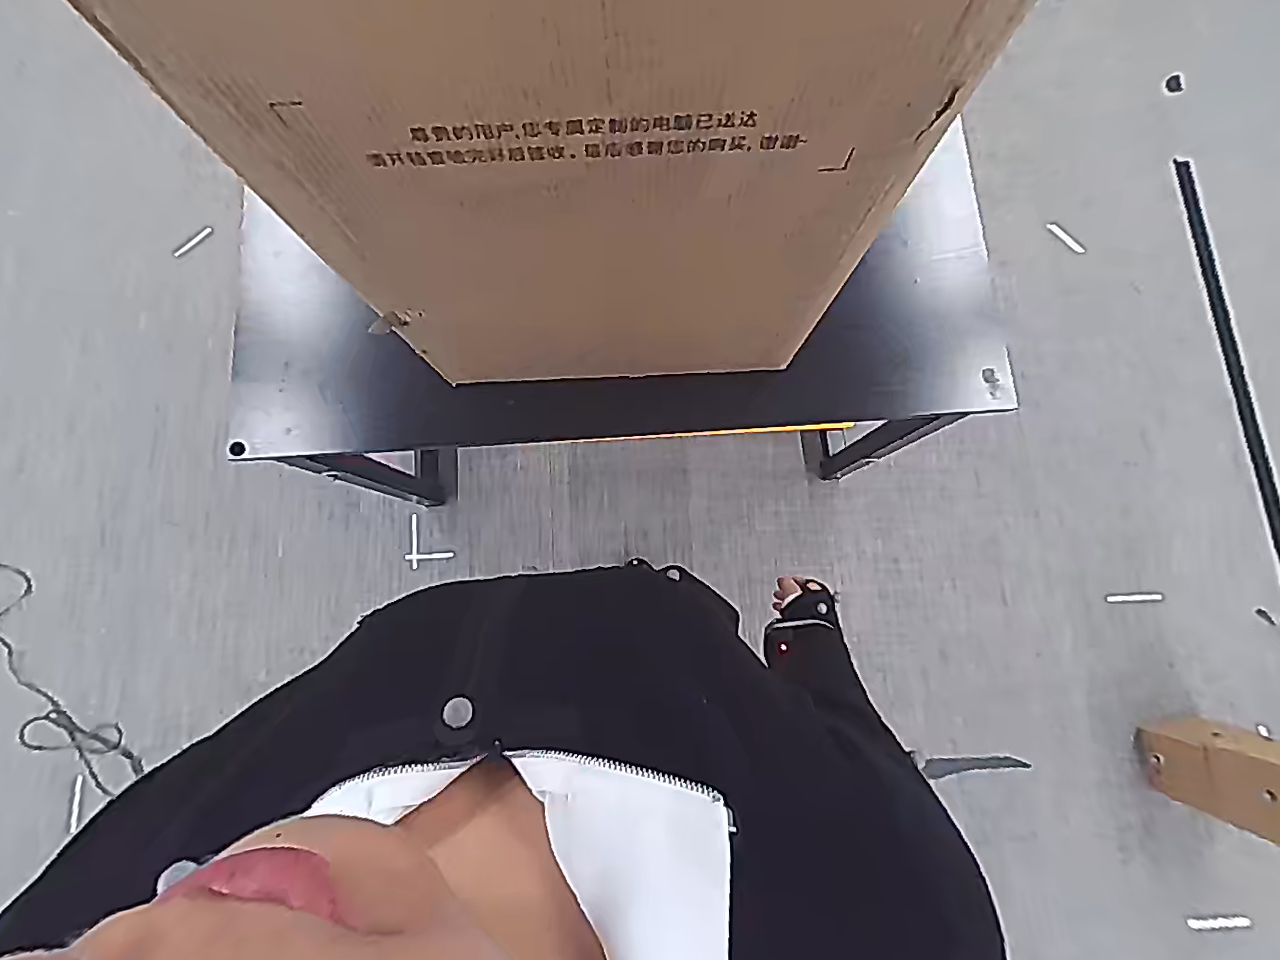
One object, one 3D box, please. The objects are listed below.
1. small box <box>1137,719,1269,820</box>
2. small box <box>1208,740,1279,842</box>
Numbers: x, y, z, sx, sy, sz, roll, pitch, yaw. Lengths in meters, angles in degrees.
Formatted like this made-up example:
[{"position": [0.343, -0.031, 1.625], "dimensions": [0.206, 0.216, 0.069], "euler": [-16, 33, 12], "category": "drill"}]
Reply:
[{"position": [1.407, 0.707, 1.338], "dimensions": [0.179, 0.176, 0.168], "euler": [-9, 80, 0], "category": "small box"}, {"position": [1.407, 0.679, 1.176], "dimensions": [0.168, 0.176, 0.179], "euler": [-4, 81, 0], "category": "small box"}]
